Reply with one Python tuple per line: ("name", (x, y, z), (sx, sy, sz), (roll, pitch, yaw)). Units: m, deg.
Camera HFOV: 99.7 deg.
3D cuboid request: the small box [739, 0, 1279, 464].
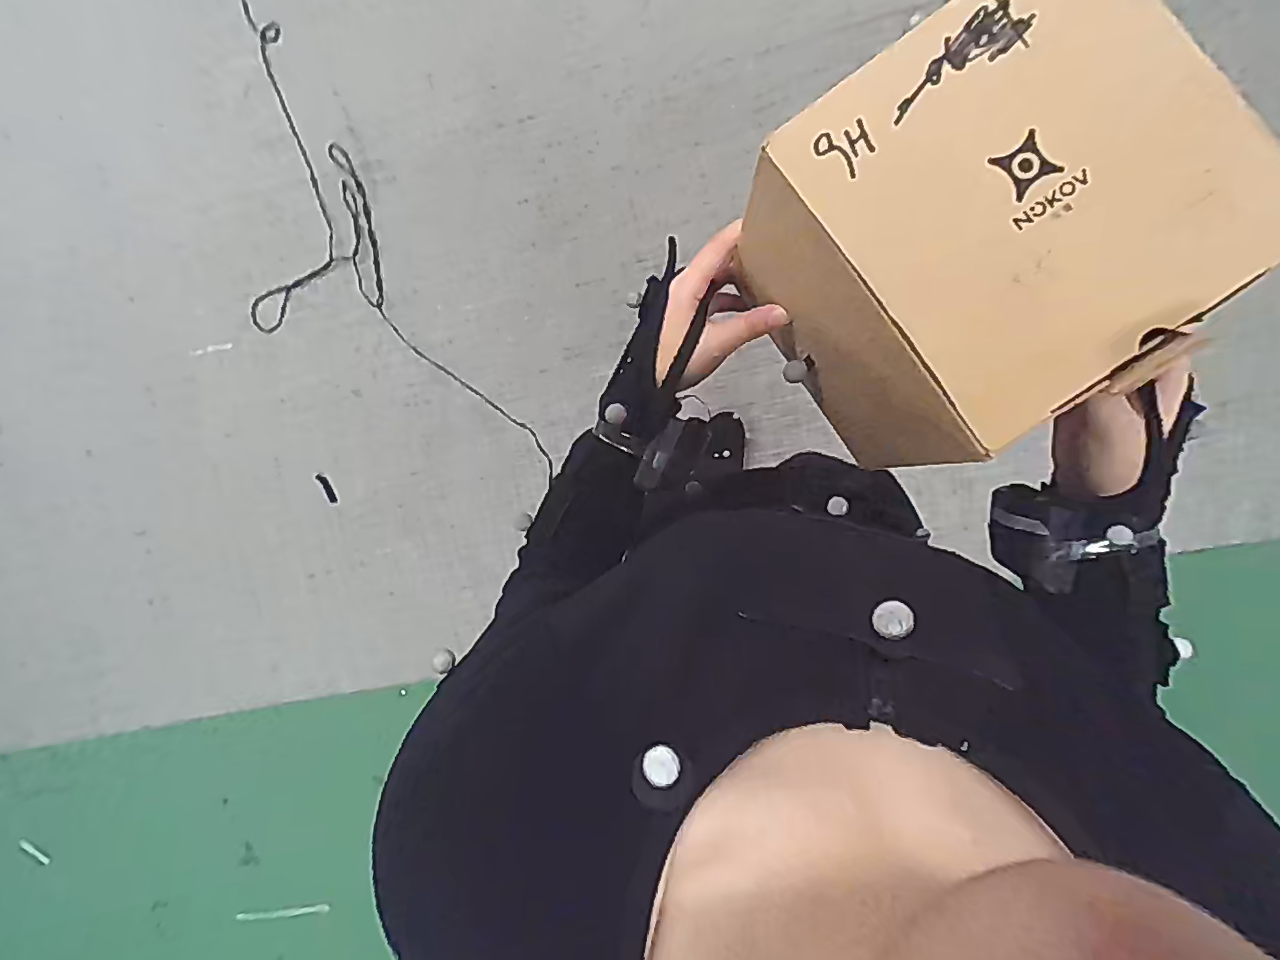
("small box", (0.176, -0.124, 0.318), (0.168, 0.176, 0.179), (-34, 87, 4))
